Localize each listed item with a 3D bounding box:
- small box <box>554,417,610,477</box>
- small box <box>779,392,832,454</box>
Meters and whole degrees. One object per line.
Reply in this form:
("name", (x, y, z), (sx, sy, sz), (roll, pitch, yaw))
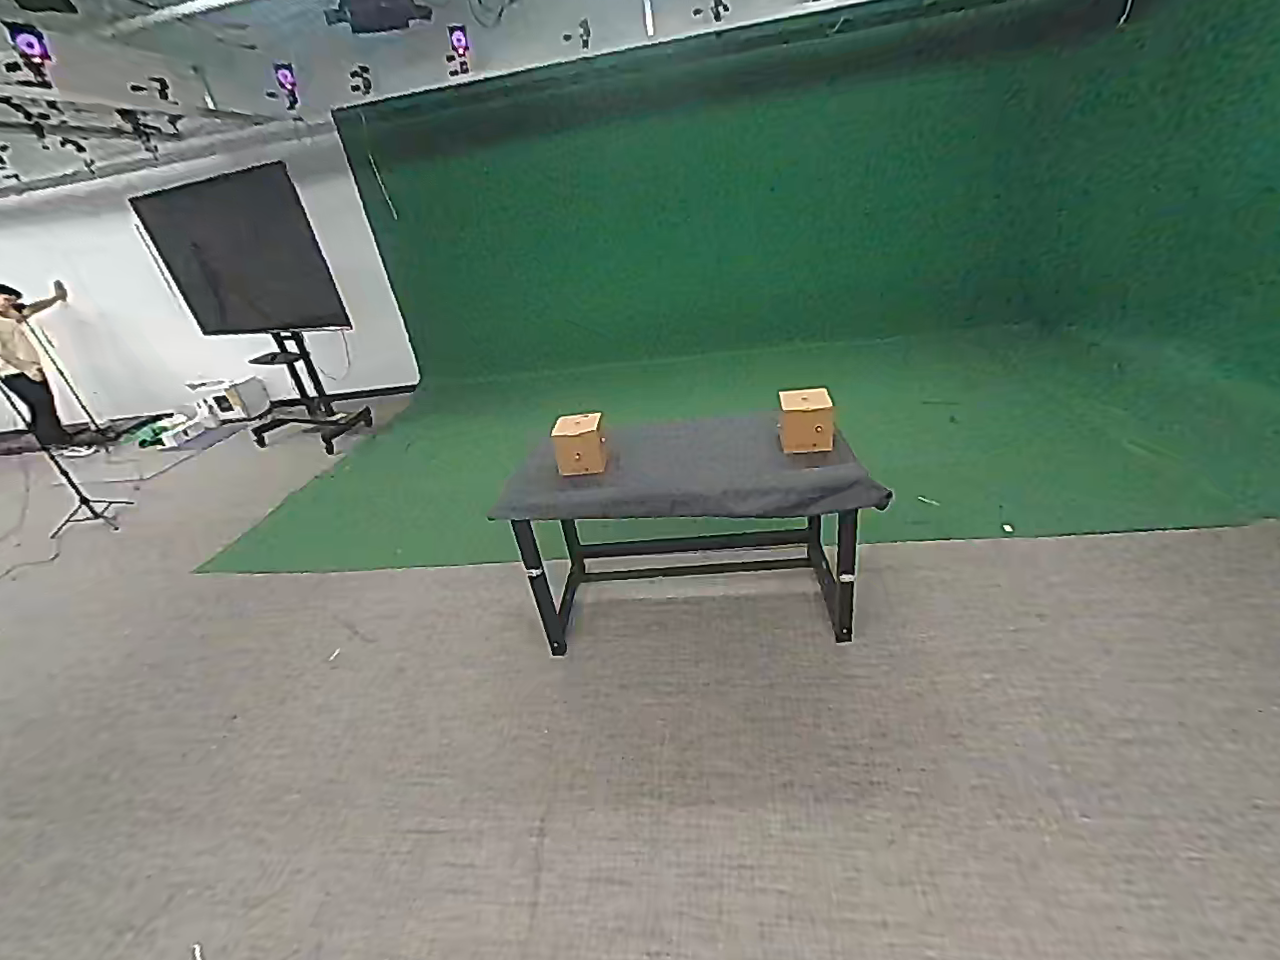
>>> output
("small box", (-0.211, -0.119, 2.025), (0.168, 0.176, 0.179), (-5, 29, 7))
("small box", (0.586, -0.198, 1.923), (0.168, 0.176, 0.179), (-3, 28, 10))
